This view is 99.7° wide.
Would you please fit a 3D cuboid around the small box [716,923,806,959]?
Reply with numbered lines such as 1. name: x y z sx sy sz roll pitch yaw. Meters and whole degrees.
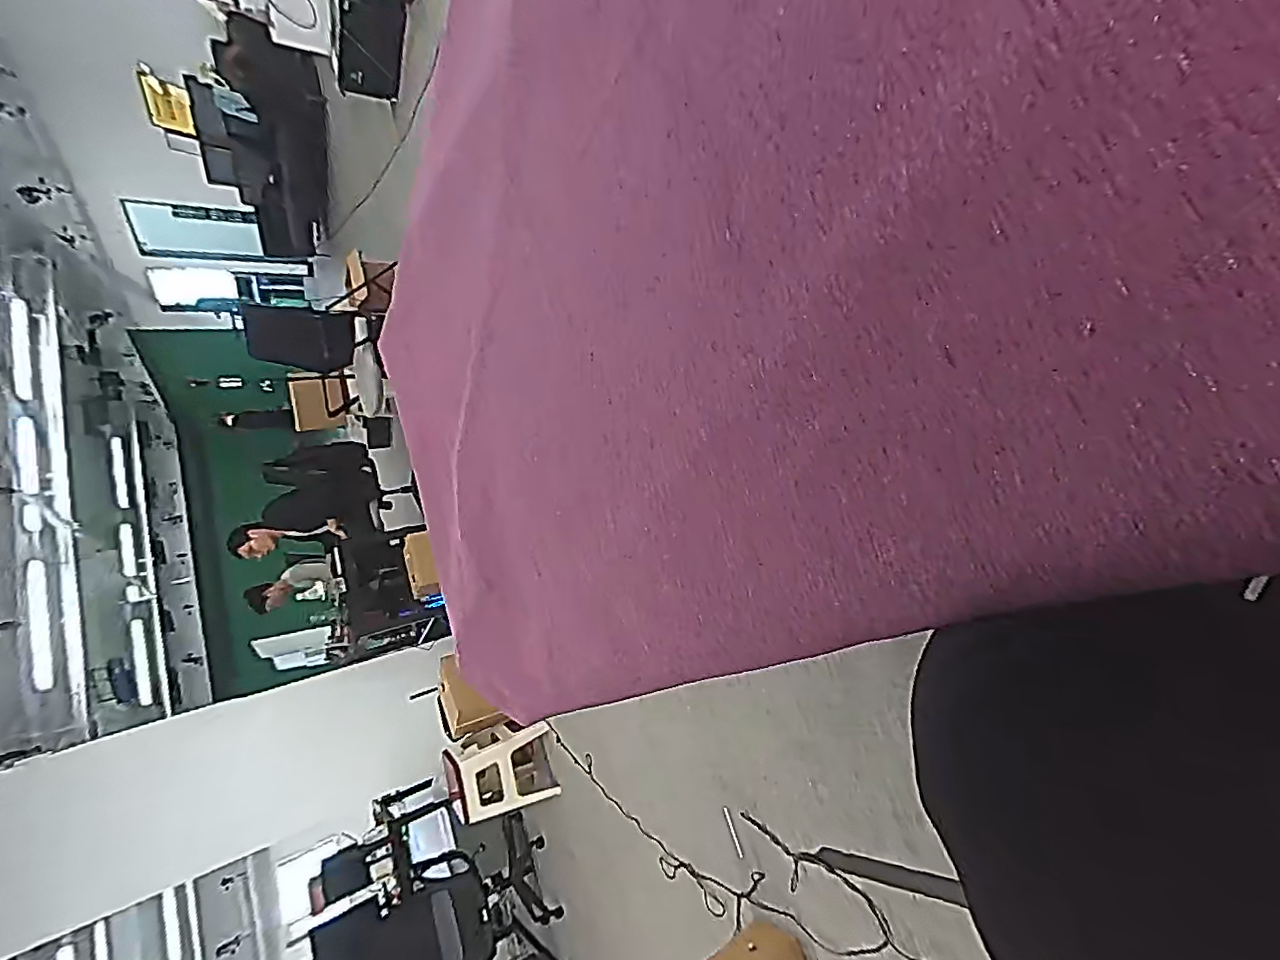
1. small box: 0.338 1.328 1.435 0.179 0.176 0.168 -40 66 52
